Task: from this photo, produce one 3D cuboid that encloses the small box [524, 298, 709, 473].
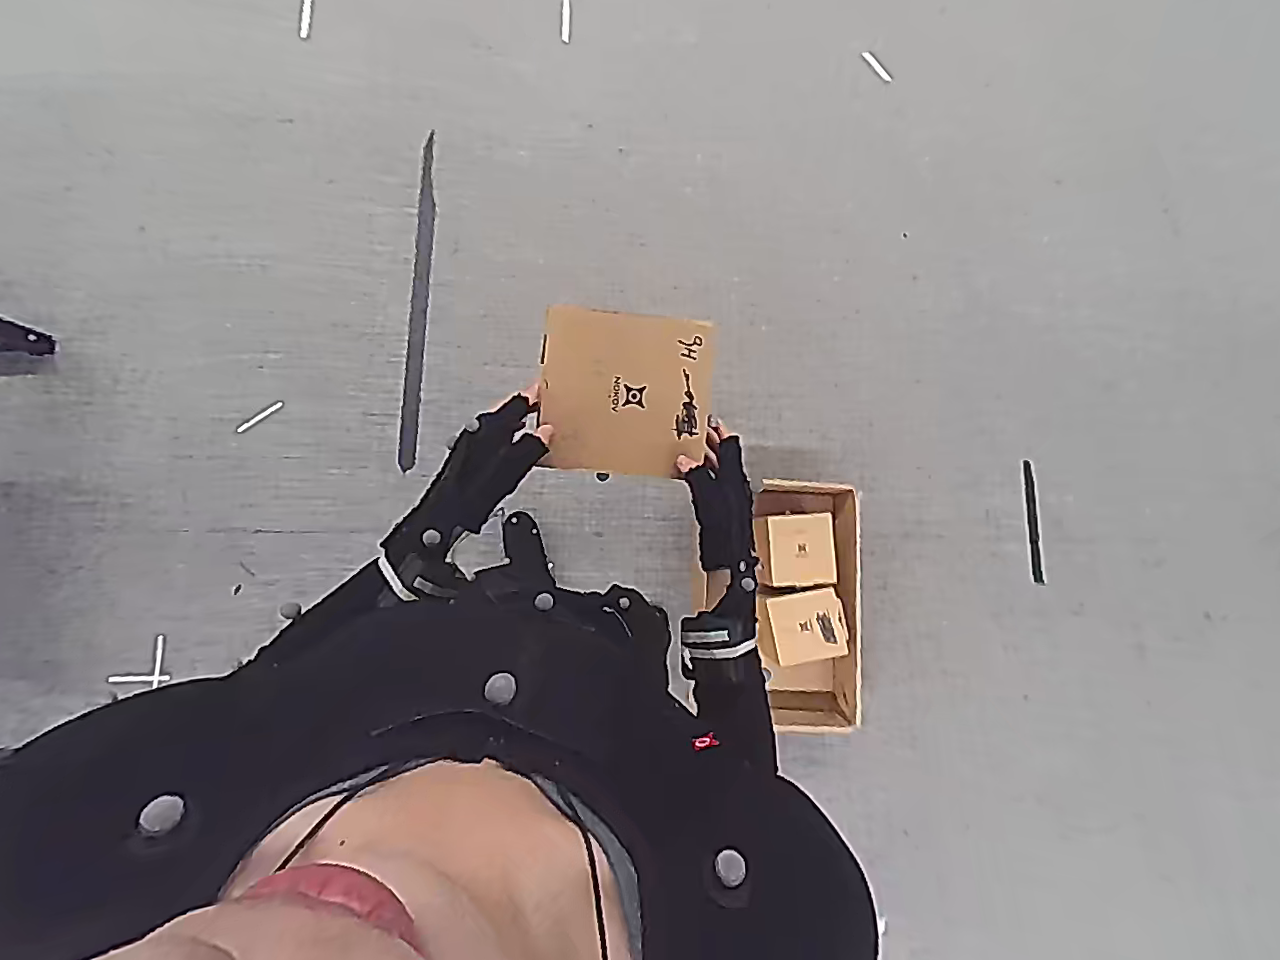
[{"bbox_3d":[-0.027,-0.097,0.625,0.179,0.176,0.168,5,92,-3],"label":"small box"}]
